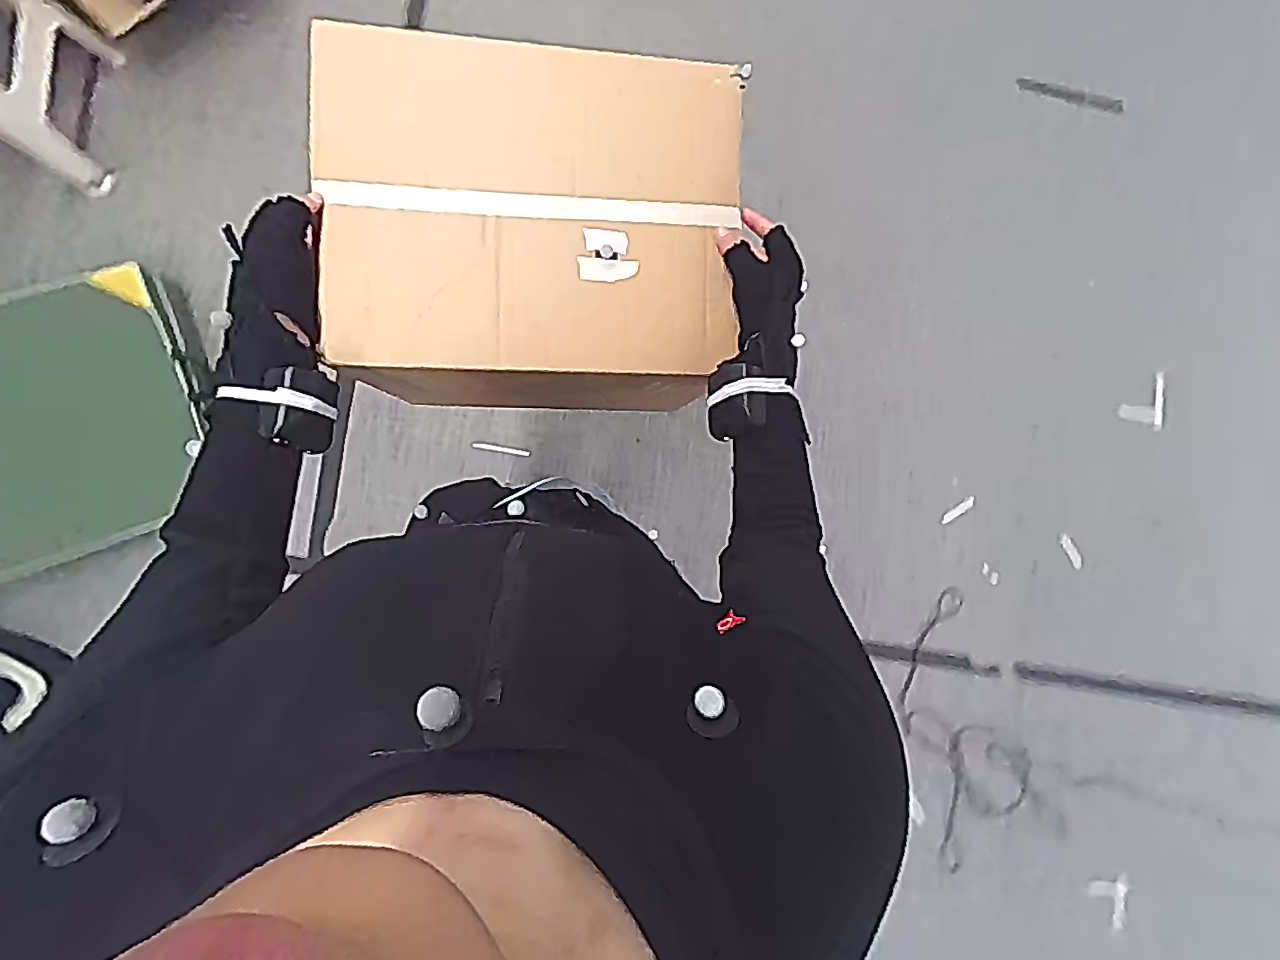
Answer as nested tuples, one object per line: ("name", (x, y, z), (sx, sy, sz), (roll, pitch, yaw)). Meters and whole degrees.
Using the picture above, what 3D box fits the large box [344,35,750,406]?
("large box", (-0.106, -0.270, 0.687), (0.408, 0.320, 0.320), (2, 91, -8))
